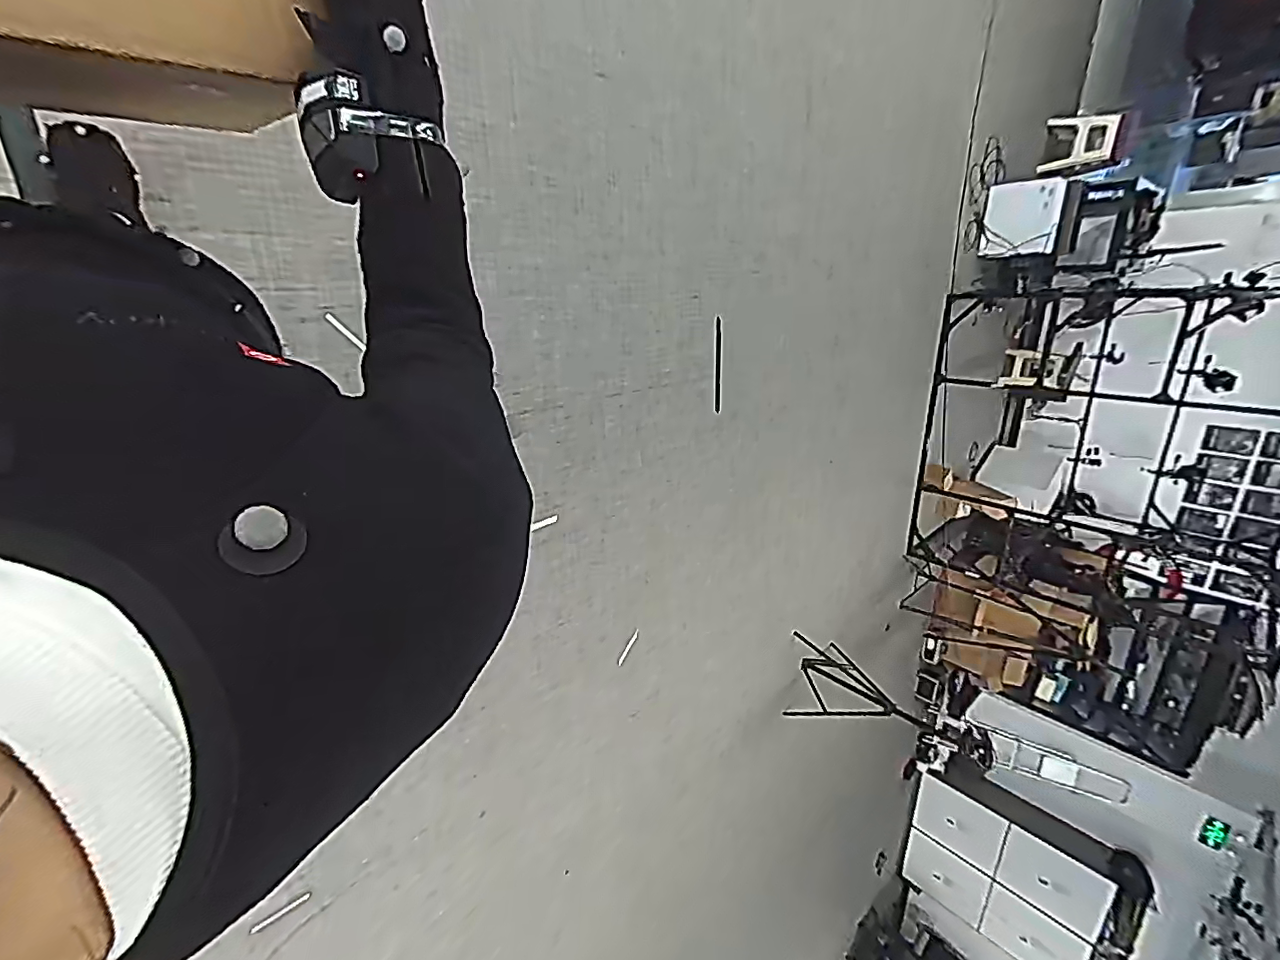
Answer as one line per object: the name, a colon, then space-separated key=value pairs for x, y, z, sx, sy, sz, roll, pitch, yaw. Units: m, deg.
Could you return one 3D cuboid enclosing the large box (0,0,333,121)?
large box: x=-0.455 y=-0.407 z=0.283 sx=0.408 sy=0.320 sz=0.320 roll=-21 pitch=124 yaw=-39
